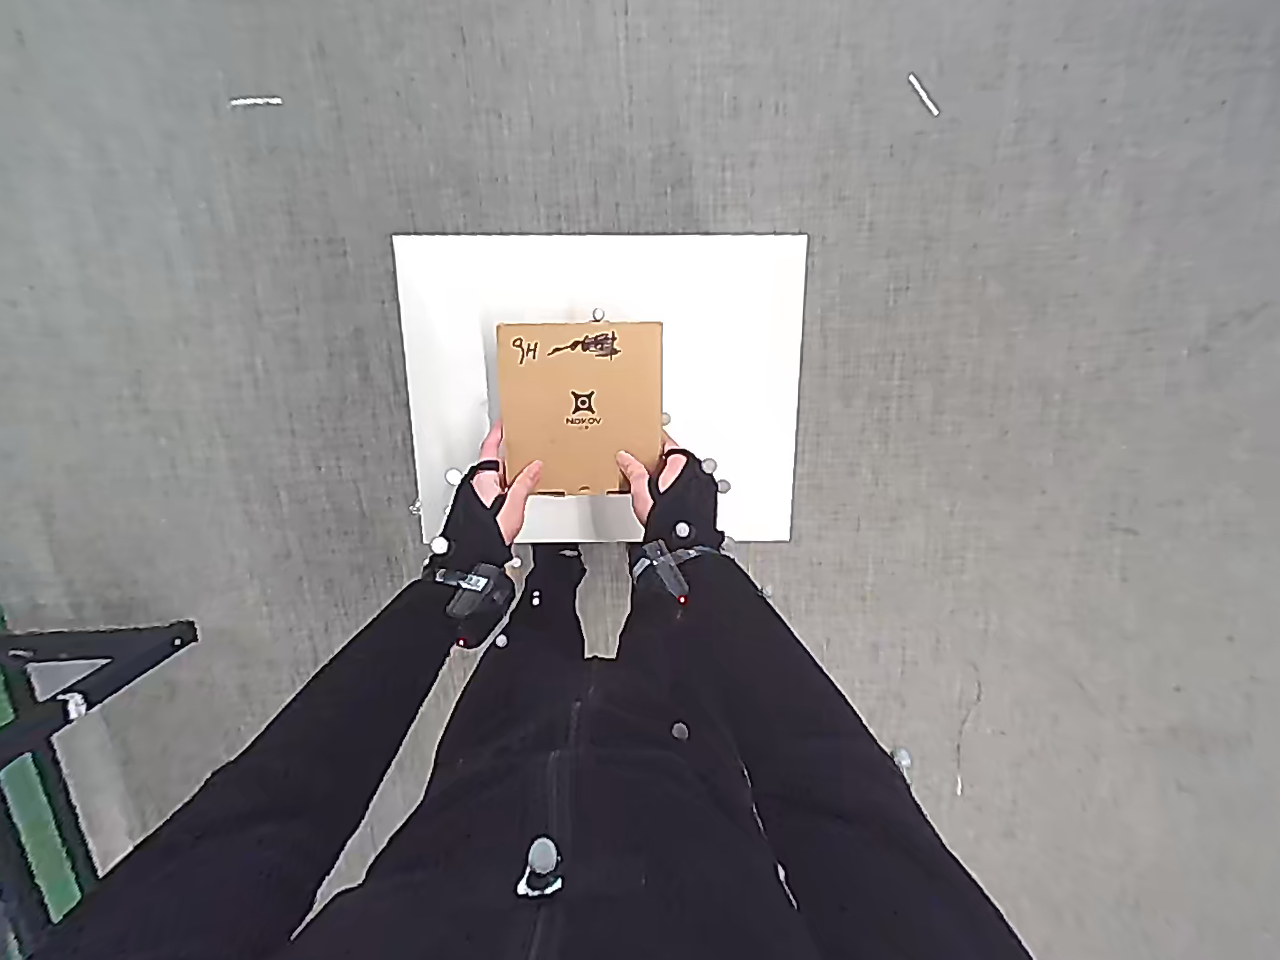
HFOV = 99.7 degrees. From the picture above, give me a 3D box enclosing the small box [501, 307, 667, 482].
[{"bbox_3d":[-0.054,-0.104,0.637,0.168,0.176,0.179,-3,102,0],"label":"small box"}]
